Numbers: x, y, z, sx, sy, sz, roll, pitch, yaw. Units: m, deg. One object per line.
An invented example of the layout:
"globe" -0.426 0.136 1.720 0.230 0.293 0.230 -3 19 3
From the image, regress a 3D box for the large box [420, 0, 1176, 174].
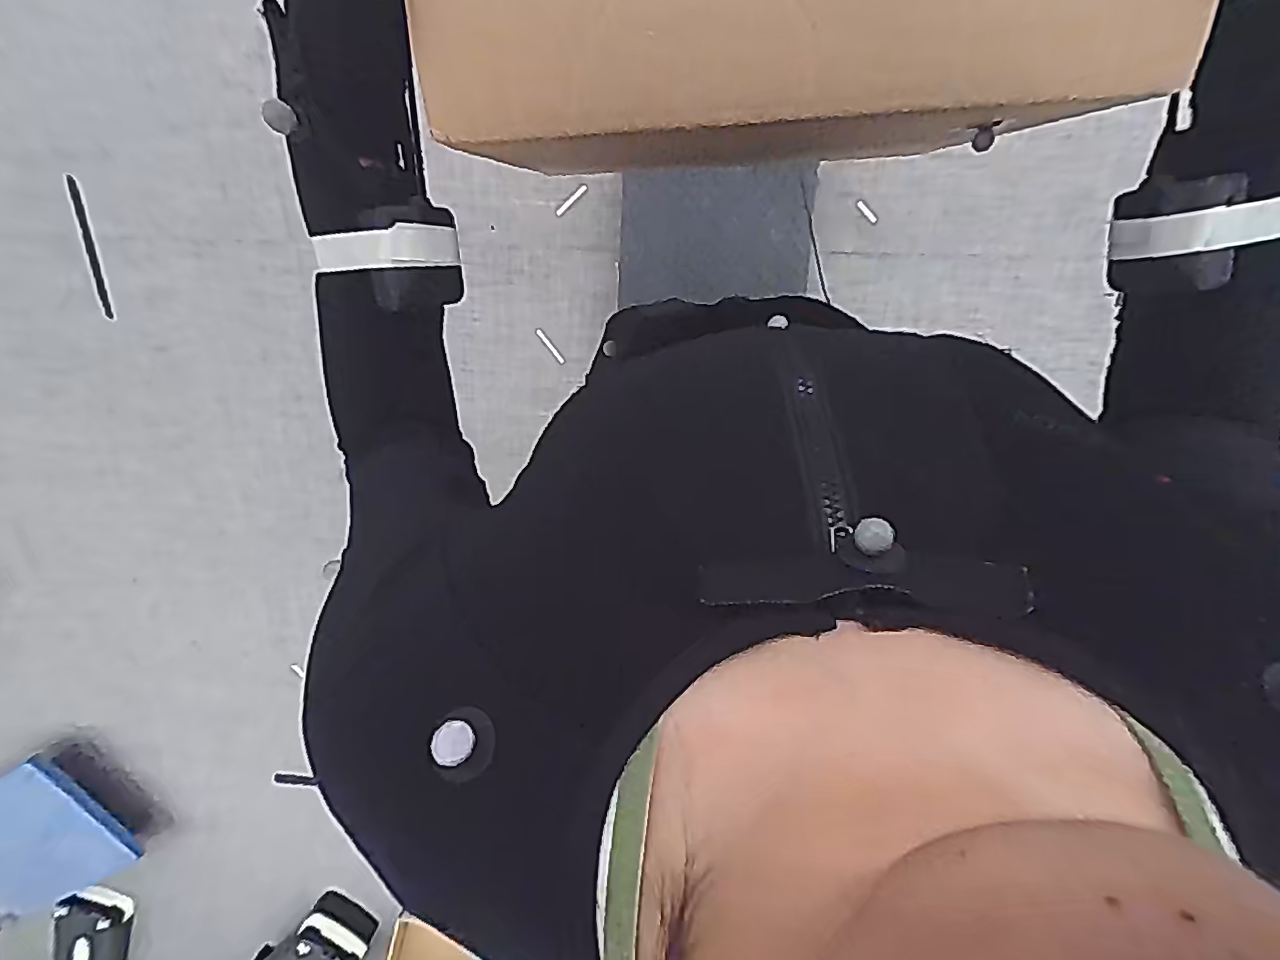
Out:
"large box" 0.081 -0.407 0.375 0.408 0.320 0.320 -2 116 4
